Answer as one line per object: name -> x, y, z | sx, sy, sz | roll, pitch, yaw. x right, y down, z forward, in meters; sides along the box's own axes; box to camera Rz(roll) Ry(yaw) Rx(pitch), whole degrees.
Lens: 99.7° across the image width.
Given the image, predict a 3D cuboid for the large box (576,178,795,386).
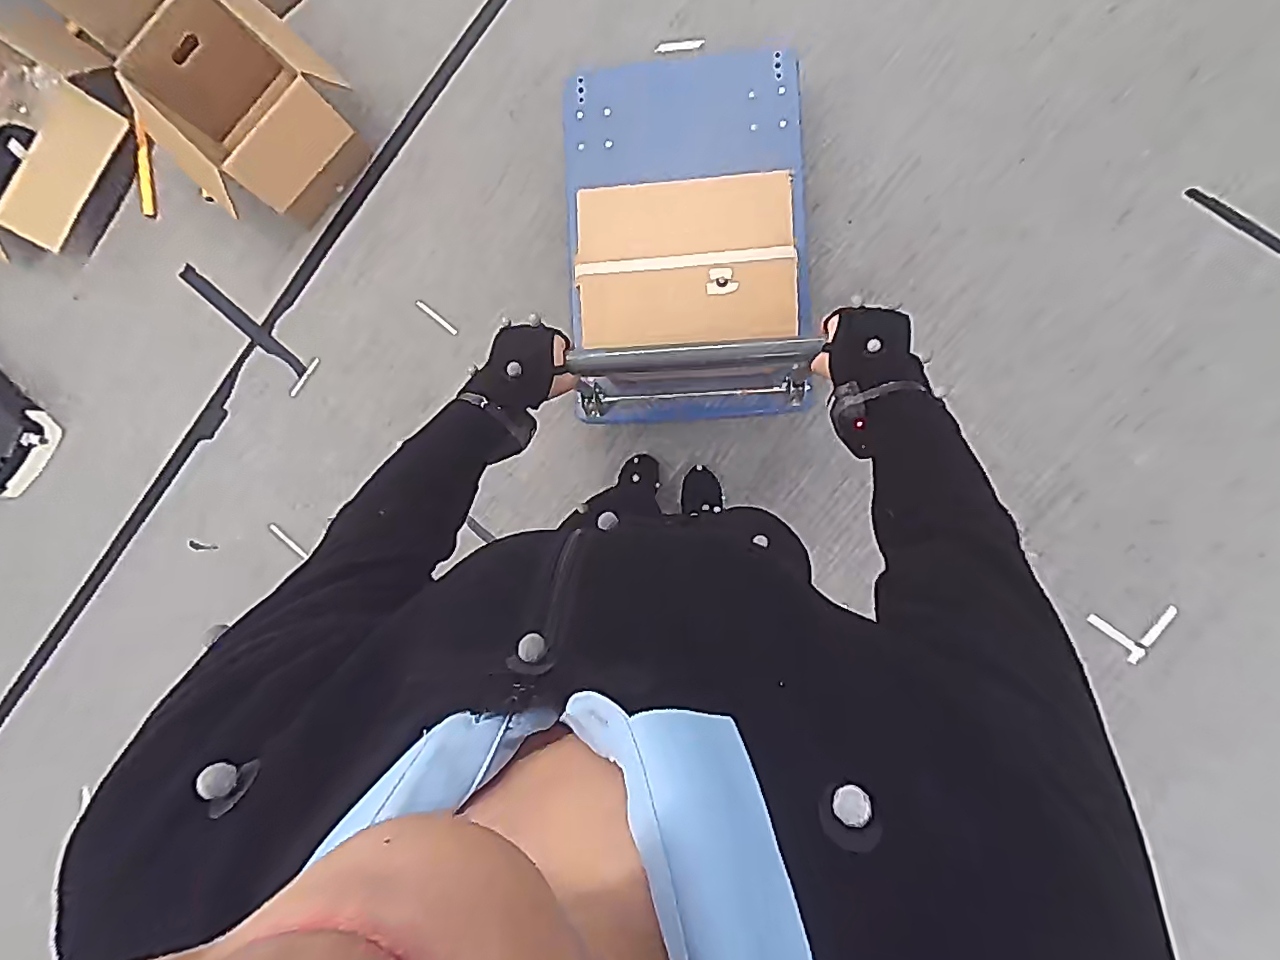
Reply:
large box -> 0.092, -0.395, 1.164 | 0.408, 0.320, 0.320 | -2, 90, 5
